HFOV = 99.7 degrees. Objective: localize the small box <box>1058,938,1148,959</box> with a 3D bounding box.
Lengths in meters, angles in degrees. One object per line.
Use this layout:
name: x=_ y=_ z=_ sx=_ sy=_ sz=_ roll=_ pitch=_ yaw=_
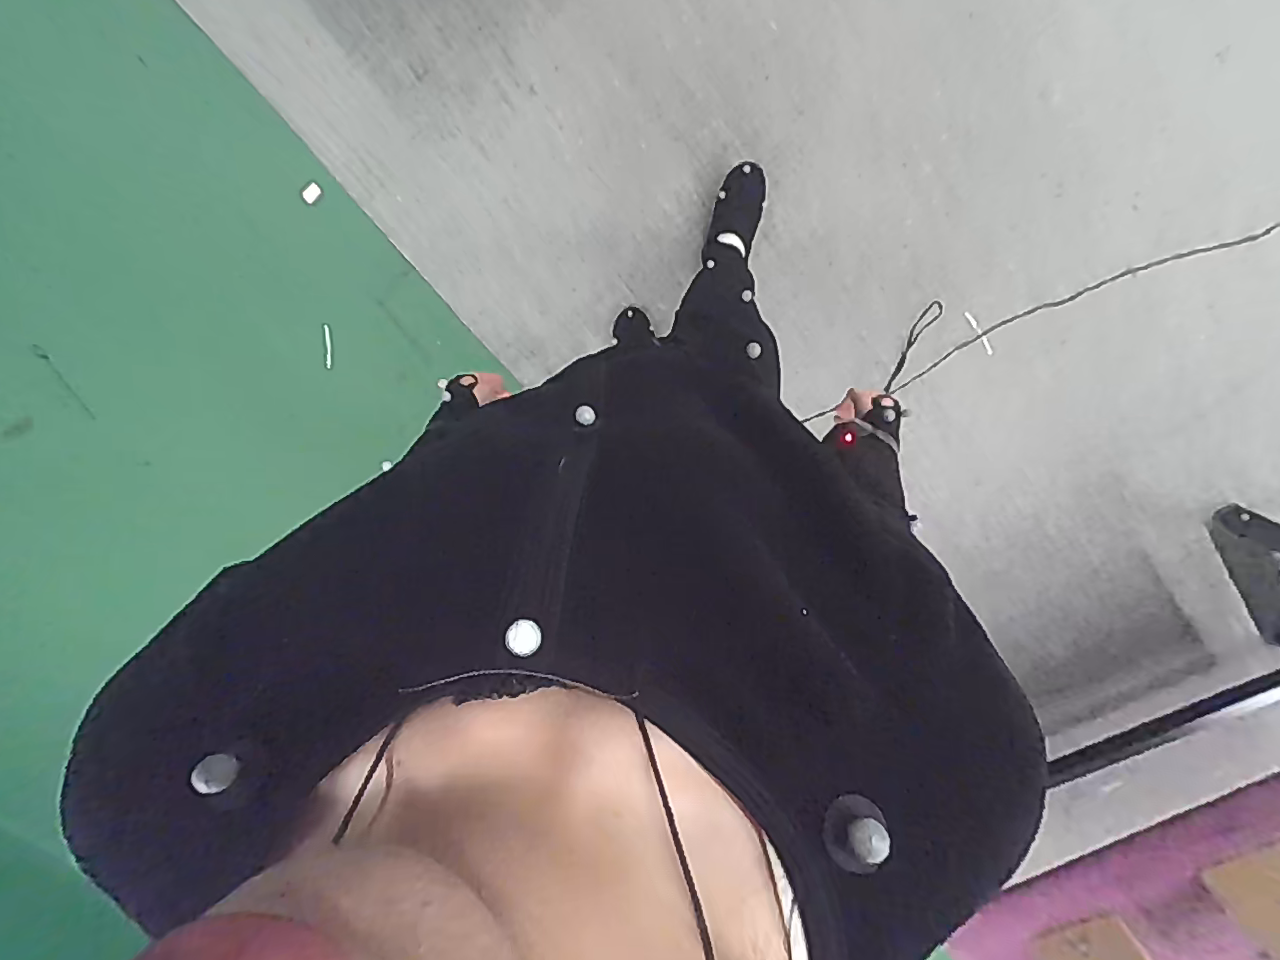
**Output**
small box: x=0.907 y=1.003 z=0.996 sx=0.179 sy=0.176 sz=0.168 roll=-37 pitch=106 yaw=16
